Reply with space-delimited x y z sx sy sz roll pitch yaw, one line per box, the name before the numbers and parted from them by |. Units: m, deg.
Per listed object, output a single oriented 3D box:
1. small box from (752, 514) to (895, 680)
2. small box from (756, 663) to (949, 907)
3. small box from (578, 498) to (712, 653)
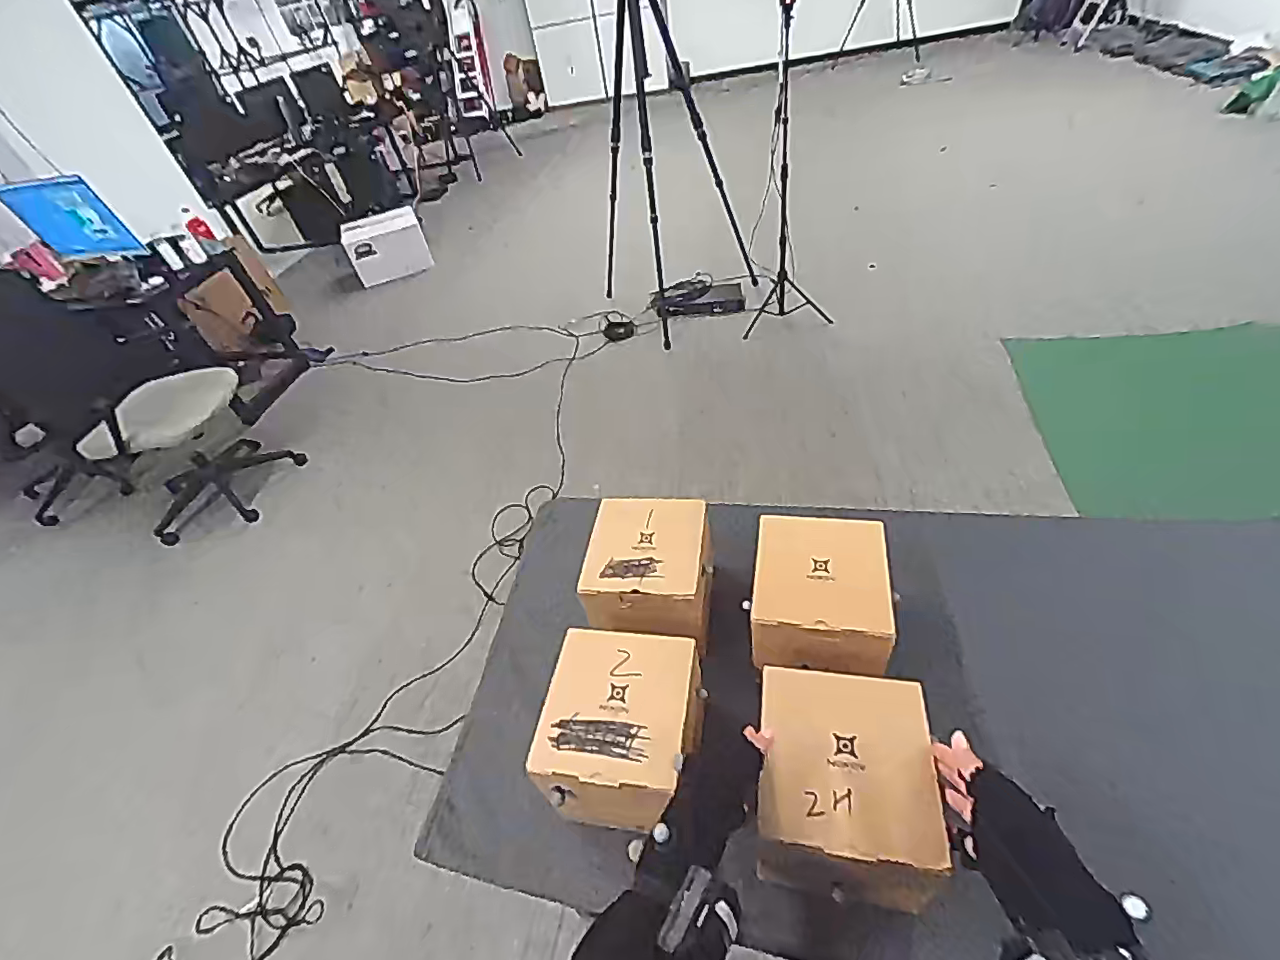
small box | 0.247 0.171 0.757 0.168 0.176 0.179 3 47 15
small box | 0.216 0.330 0.594 0.168 0.176 0.179 1 44 15
small box | 0.020 0.147 0.831 0.168 0.176 0.179 0 45 13
